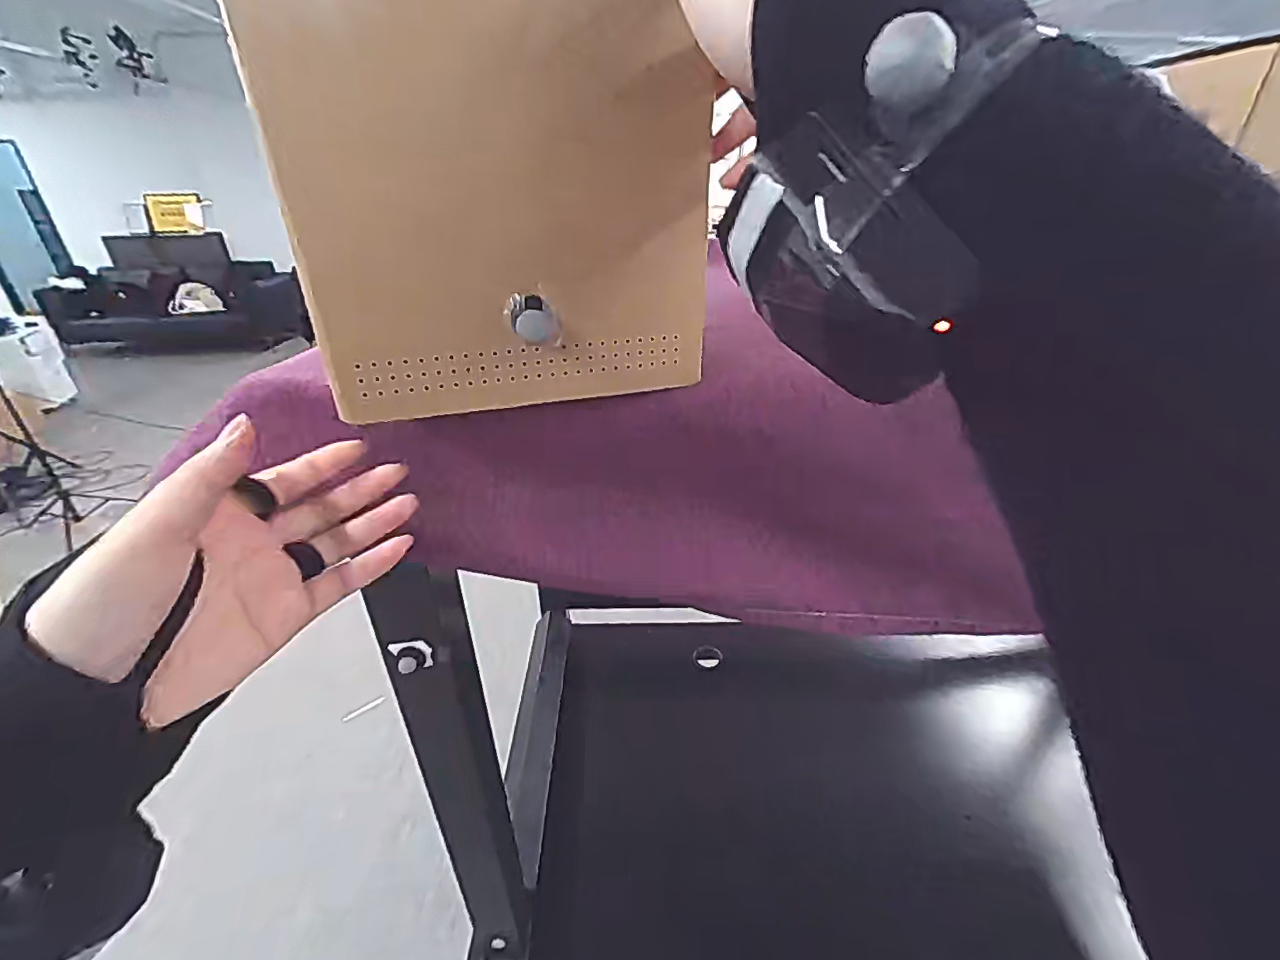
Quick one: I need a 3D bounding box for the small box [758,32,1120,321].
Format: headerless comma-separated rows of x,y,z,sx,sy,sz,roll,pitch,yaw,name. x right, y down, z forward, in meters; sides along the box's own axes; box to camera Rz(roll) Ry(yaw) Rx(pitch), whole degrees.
0.202,-0.228,0.429,0.179,0.176,0.168,-1,28,0,small box

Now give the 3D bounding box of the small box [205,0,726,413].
-0.076,-0.145,0.278,0.179,0.176,0.168,-9,30,-17,small box
